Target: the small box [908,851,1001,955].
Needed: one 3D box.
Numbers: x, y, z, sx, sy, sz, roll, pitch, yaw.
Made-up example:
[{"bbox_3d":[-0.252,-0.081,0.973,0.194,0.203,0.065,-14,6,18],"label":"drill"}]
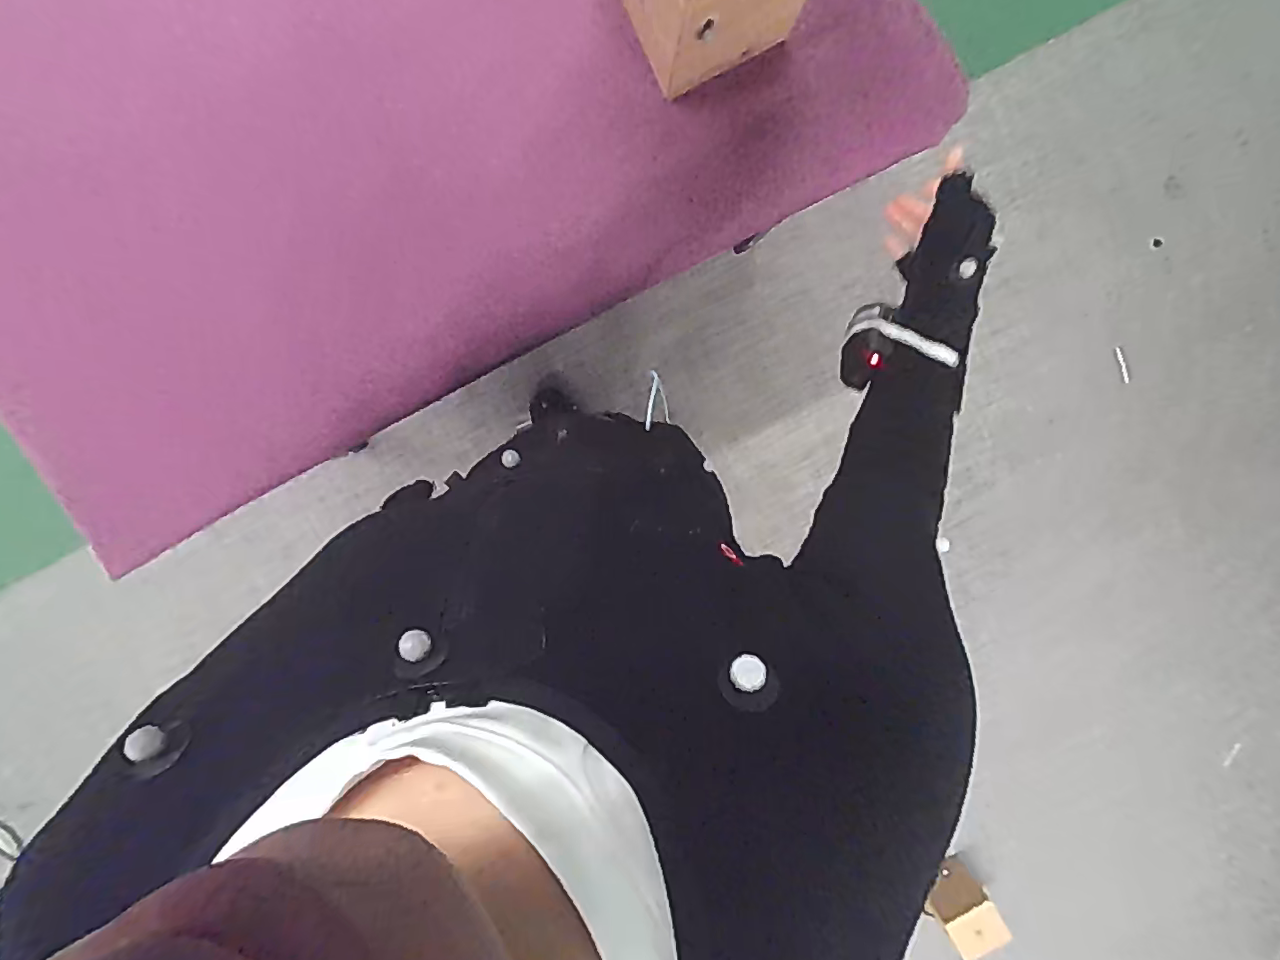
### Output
[{"bbox_3d":[1.012,1.363,1.753,0.168,0.176,0.179,-30,101,0],"label":"small box"}]
